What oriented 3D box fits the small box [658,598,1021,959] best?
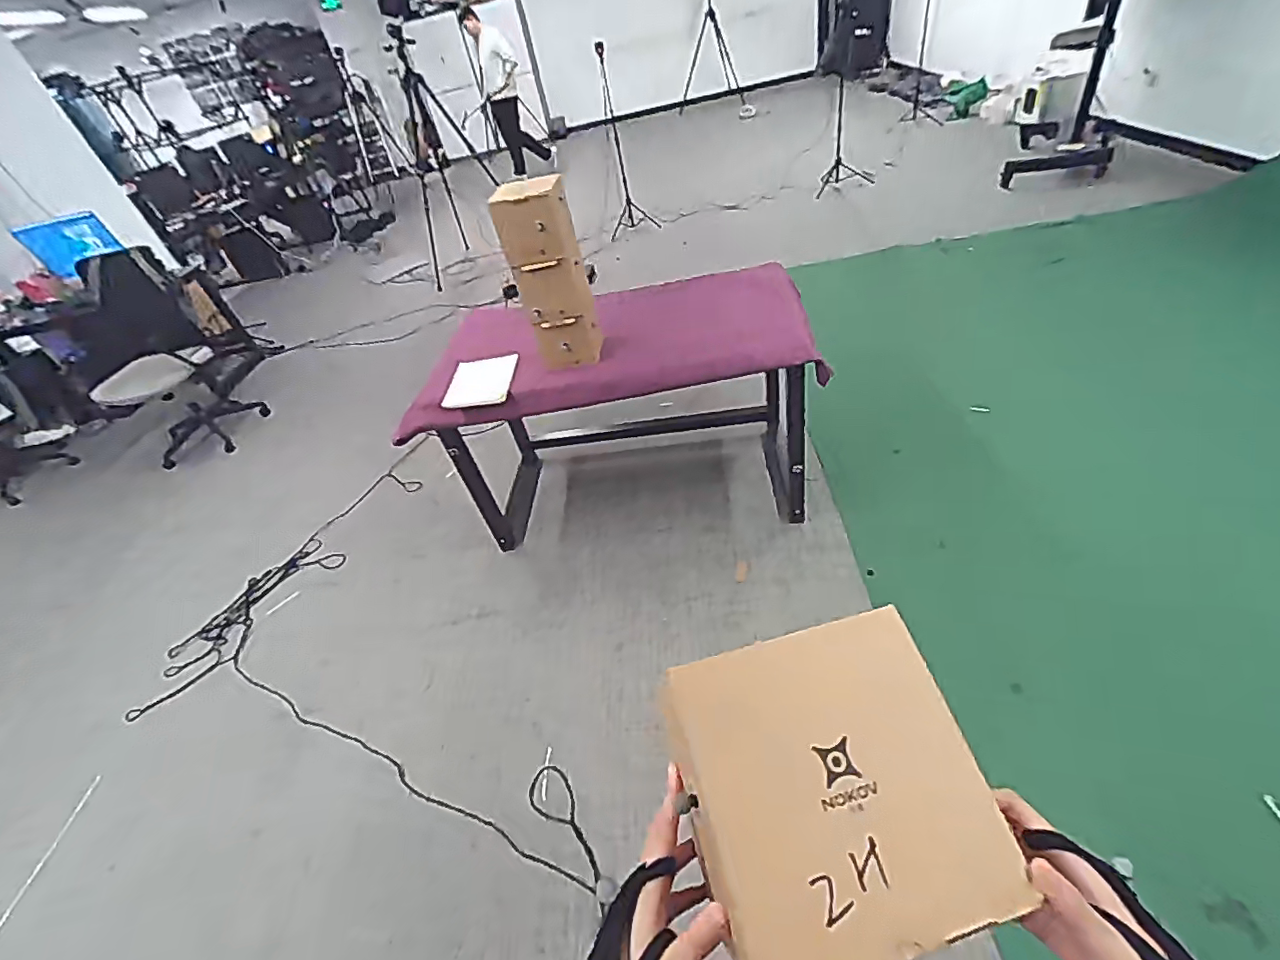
[{"bbox_3d":[0.113,0.210,0.399,0.168,0.176,0.179,-12,62,-7],"label":"small box"}]

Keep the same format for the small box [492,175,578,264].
[{"bbox_3d":[-0.272,-0.693,1.452,0.168,0.176,0.179,-5,41,10],"label":"small box"}]

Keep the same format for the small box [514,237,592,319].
[{"bbox_3d":[-0.242,-0.577,1.562,0.168,0.176,0.179,-6,41,9],"label":"small box"}]

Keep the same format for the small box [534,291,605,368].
[{"bbox_3d":[-0.211,-0.460,1.675,0.168,0.176,0.179,-6,42,9],"label":"small box"}]
